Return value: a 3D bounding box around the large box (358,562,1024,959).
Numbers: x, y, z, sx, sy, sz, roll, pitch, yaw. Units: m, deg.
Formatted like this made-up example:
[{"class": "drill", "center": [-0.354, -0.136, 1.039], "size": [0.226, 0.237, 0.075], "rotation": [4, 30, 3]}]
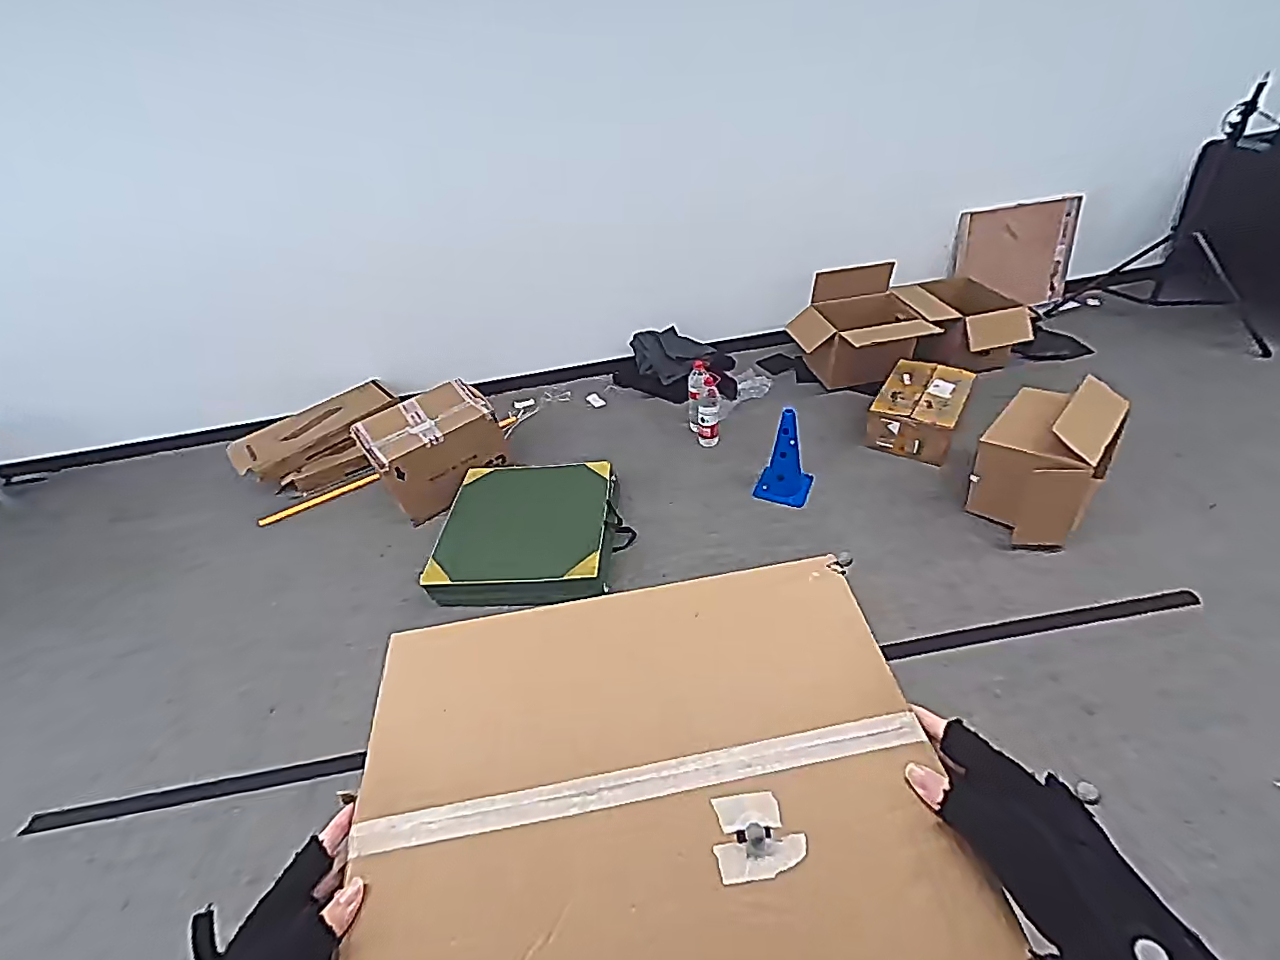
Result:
[{"class": "large box", "center": [0.016, 0.322, 0.504], "size": [0.408, 0.320, 0.320], "rotation": [-9, 47, -3]}]
